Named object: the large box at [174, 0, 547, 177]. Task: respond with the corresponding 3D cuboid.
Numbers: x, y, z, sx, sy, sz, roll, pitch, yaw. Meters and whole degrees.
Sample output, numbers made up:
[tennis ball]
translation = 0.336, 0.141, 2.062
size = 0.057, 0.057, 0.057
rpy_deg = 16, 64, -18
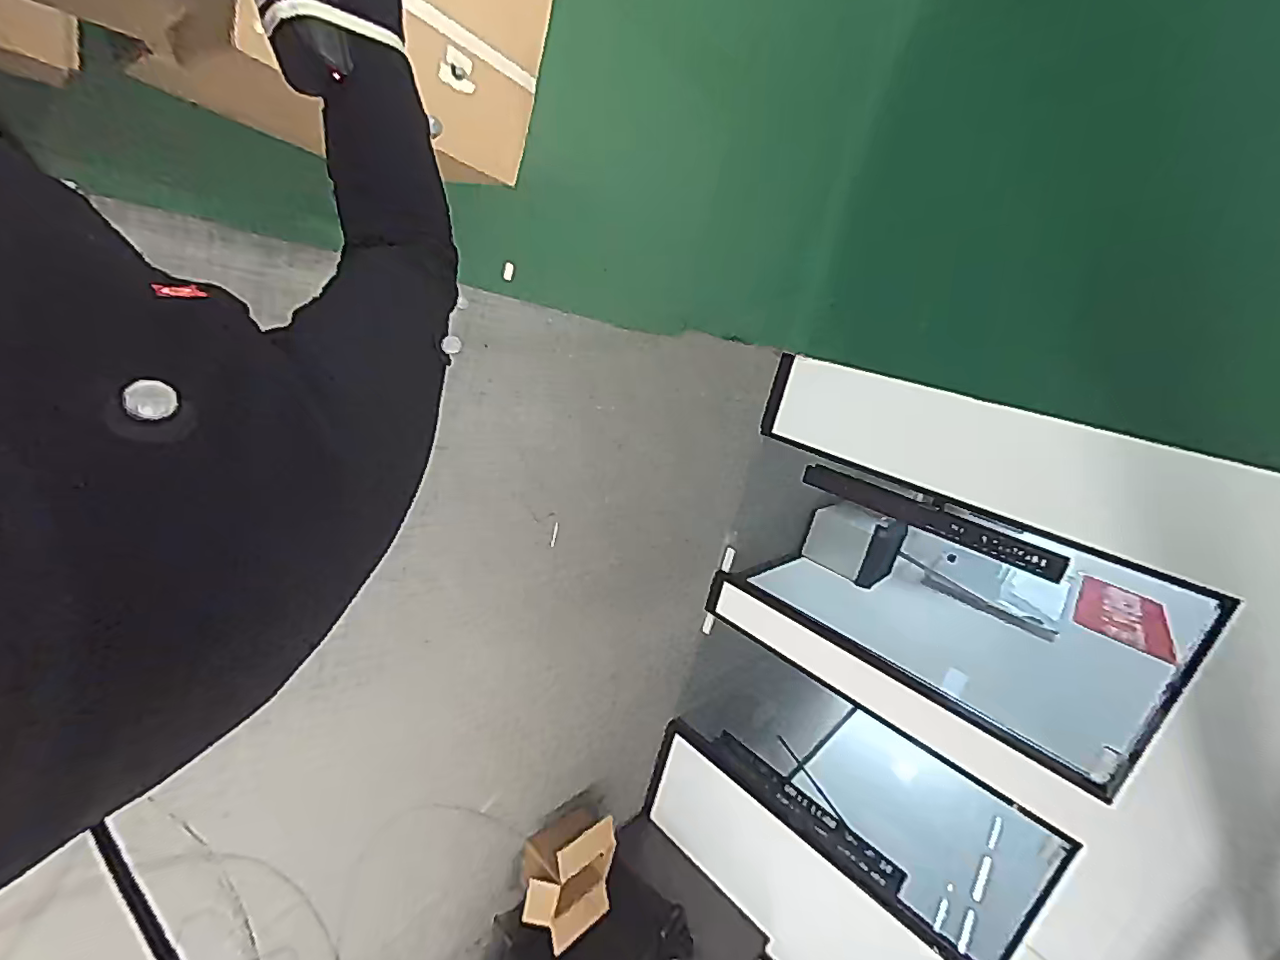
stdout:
[large box]
translation = -0.412, -0.706, 0.818
size = 0.408, 0.320, 0.320
rpy_deg = -2, 114, -51
